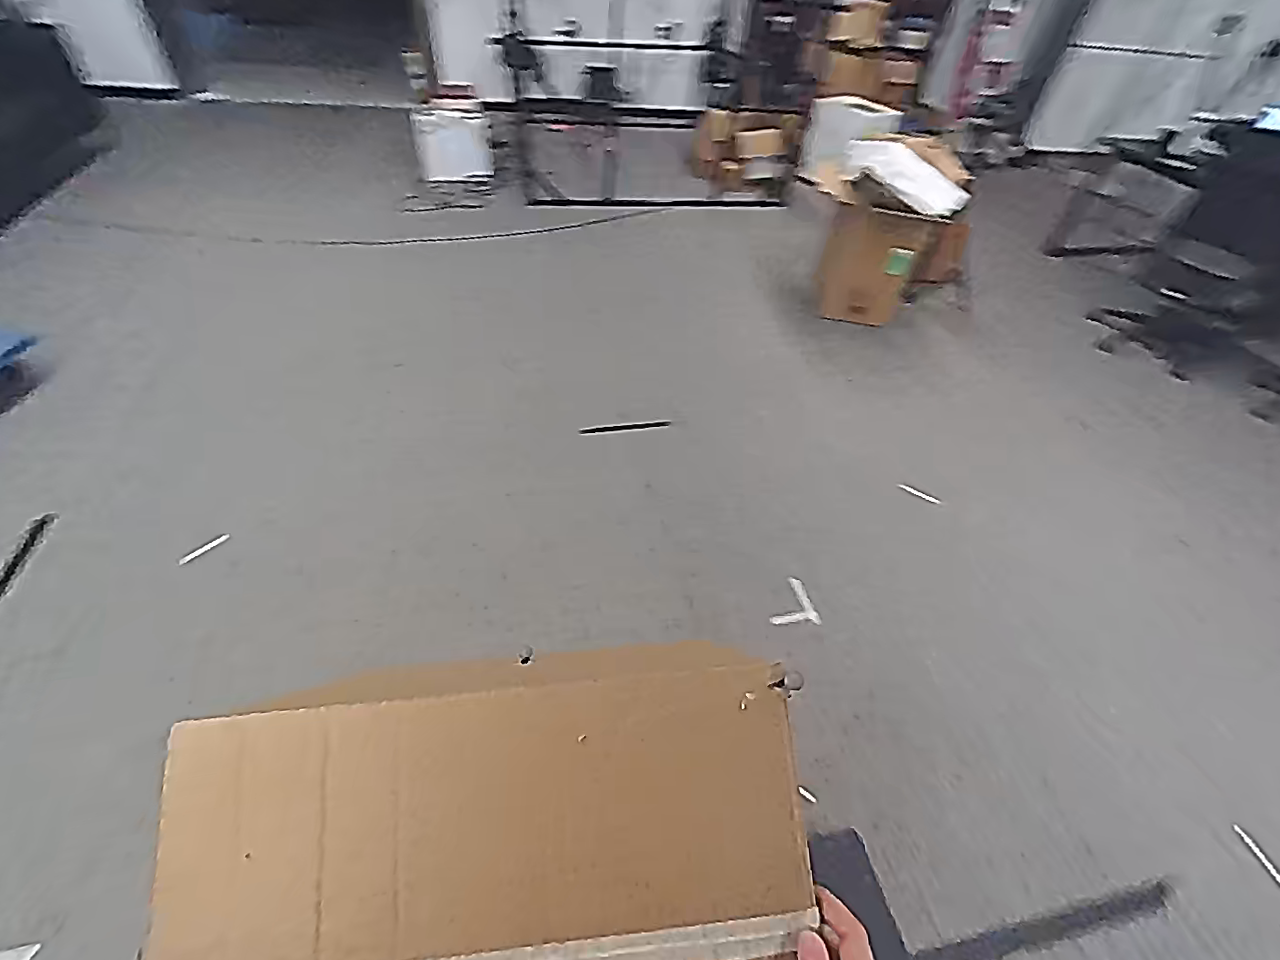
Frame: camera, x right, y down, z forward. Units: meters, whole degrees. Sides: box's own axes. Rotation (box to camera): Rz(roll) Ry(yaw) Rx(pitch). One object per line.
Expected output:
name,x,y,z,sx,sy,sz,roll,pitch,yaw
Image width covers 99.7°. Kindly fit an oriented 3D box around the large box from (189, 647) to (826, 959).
large box,-0.087,0.333,0.483,0.408,0.320,0.320,-4,78,-3
